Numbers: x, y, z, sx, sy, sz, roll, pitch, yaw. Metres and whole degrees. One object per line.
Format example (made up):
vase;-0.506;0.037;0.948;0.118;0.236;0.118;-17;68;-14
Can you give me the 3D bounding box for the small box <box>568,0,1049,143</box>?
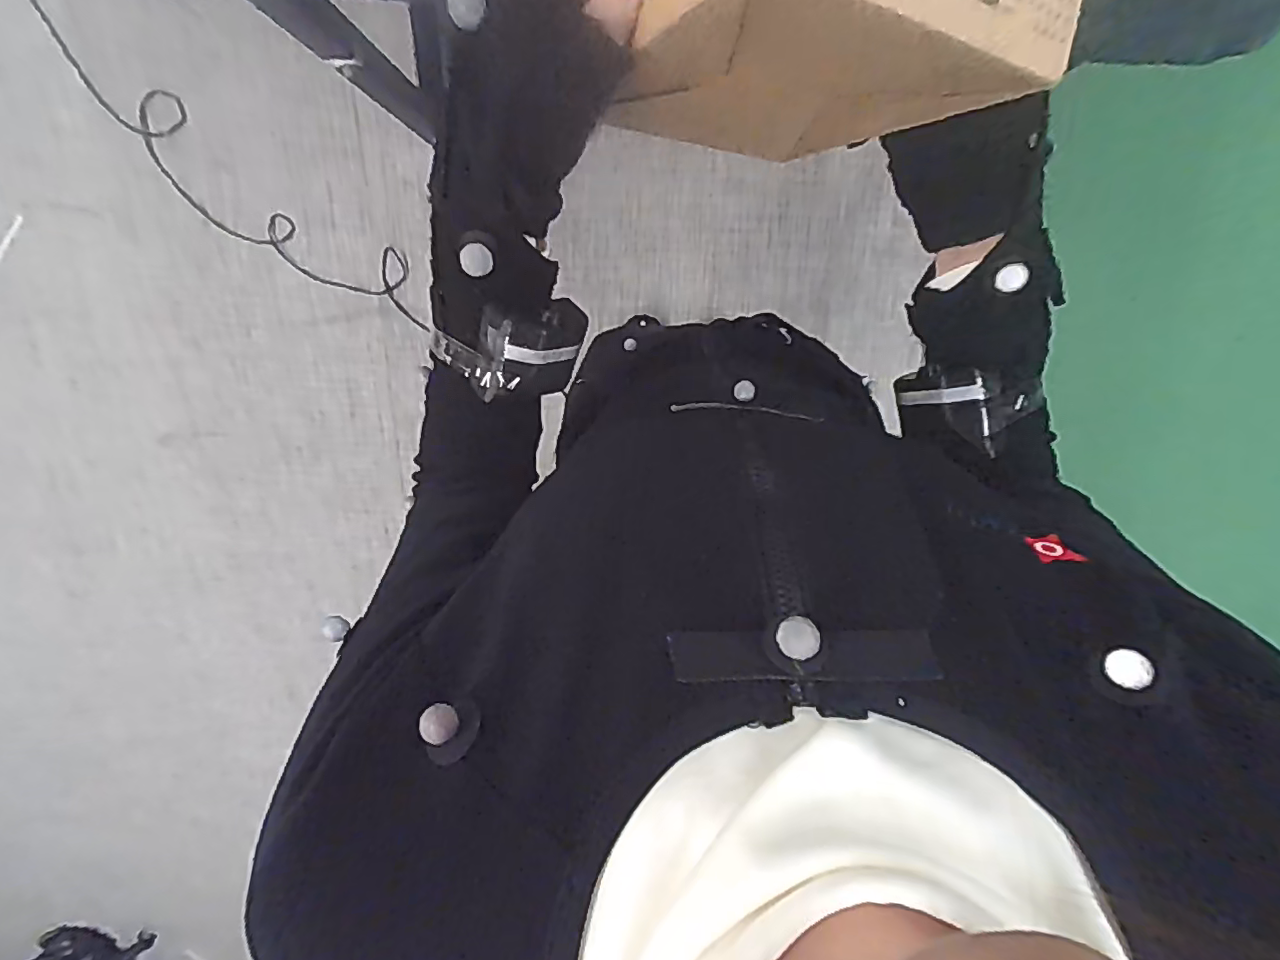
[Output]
small box;0.070;-0.273;0.248;0.168;0.179;0.176;-7;111;-28
